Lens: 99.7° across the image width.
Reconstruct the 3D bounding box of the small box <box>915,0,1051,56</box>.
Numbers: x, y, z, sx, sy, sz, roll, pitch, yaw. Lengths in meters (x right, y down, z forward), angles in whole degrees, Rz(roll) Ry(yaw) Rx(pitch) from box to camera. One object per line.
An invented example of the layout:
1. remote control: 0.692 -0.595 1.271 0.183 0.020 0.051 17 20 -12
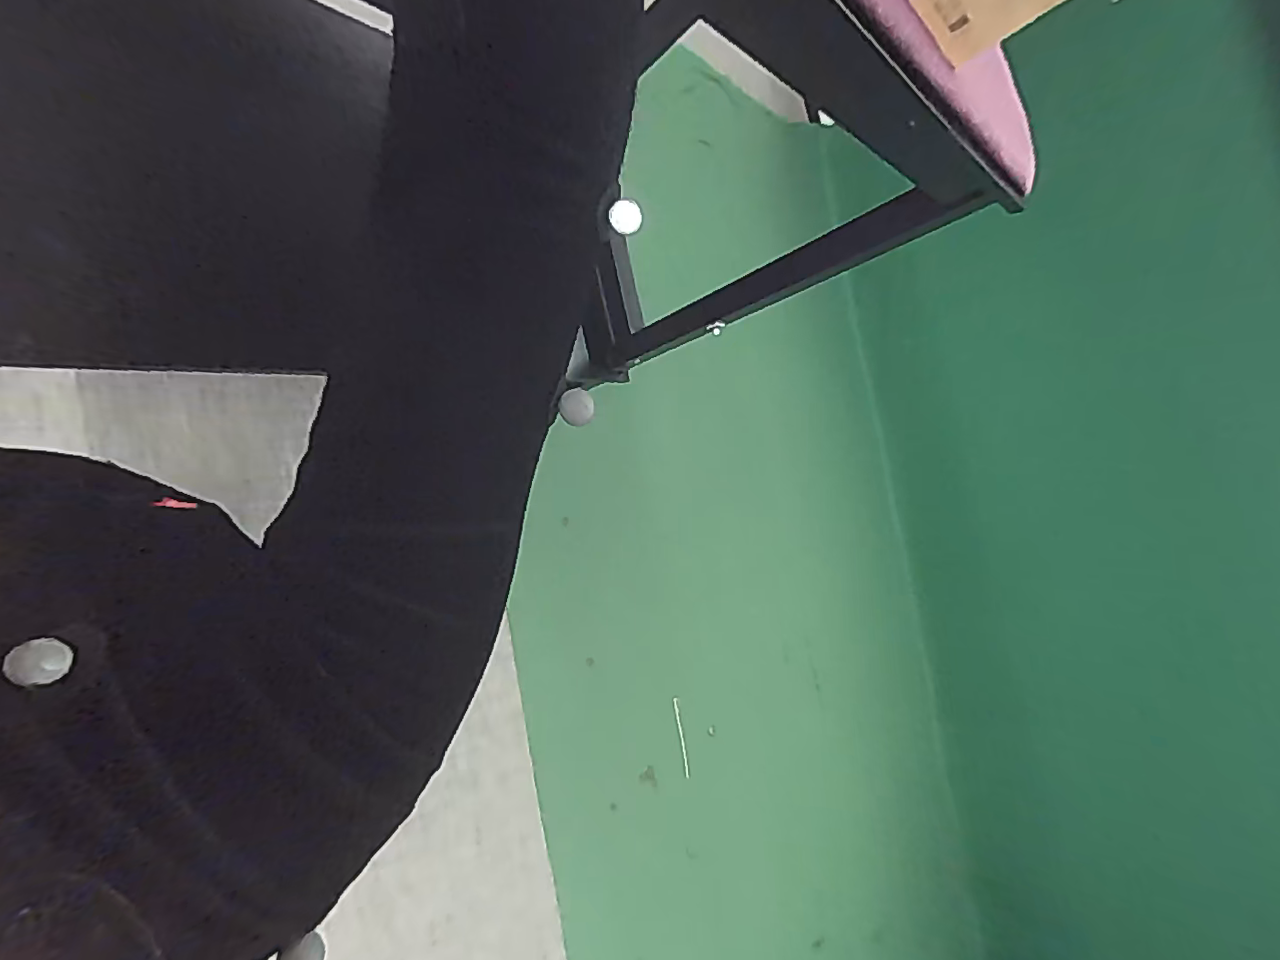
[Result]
1. small box: 0.279 -0.473 0.396 0.168 0.176 0.179 -8 88 -45
